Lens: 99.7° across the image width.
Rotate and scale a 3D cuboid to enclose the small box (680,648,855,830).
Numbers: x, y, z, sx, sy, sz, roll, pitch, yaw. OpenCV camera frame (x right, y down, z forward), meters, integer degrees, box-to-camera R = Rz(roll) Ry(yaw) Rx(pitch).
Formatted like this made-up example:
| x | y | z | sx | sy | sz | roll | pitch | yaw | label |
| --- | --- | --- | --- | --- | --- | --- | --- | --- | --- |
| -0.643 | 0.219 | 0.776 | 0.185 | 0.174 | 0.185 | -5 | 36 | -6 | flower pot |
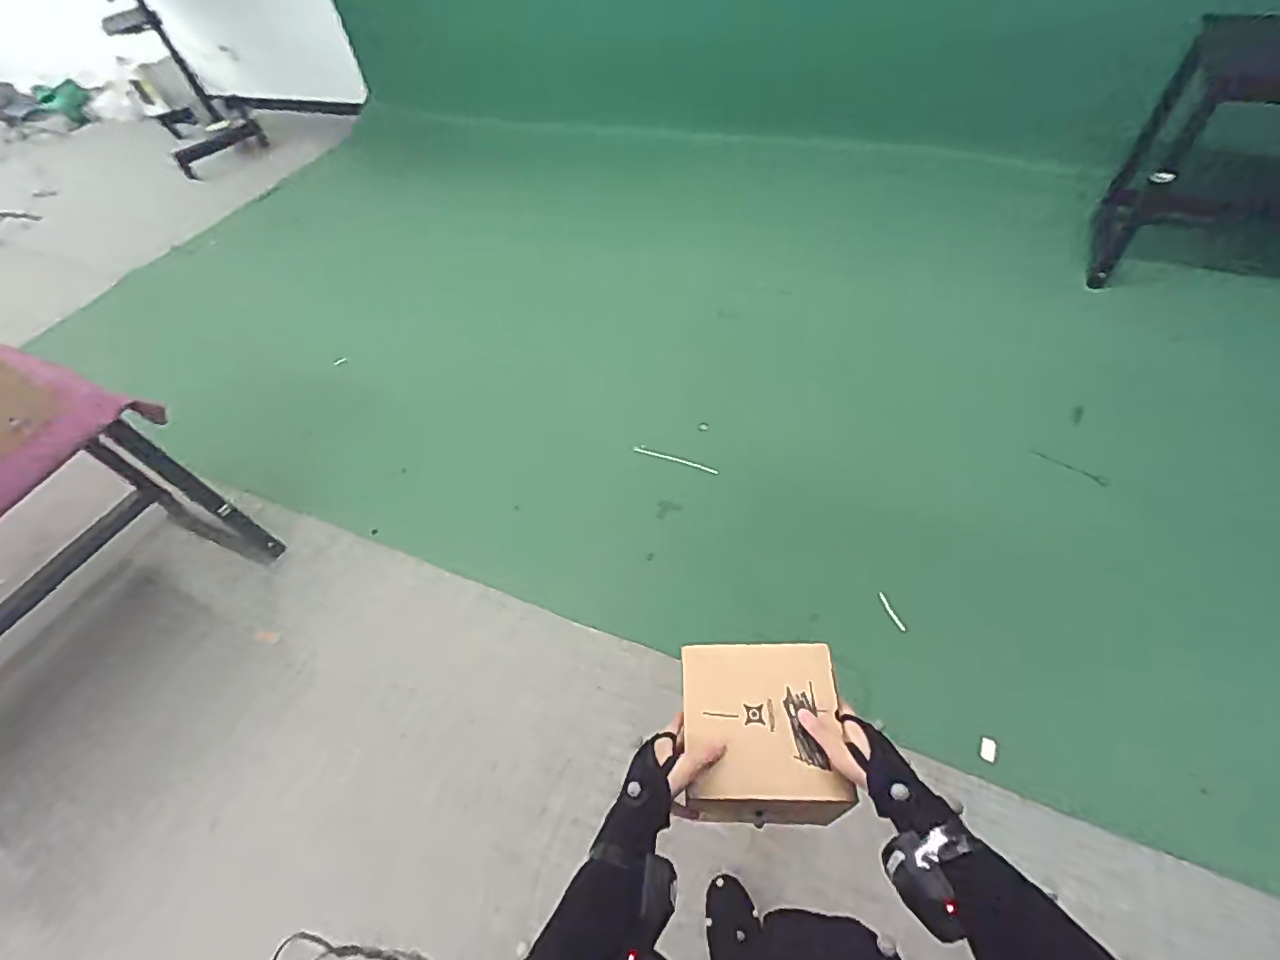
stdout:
| x | y | z | sx | sy | sz | roll | pitch | yaw | label |
| --- | --- | --- | --- | --- | --- | --- | --- | --- | --- |
| 0.138 | 0.315 | 0.655 | 0.179 | 0.176 | 0.168 | -2 | 50 | 6 | small box |
